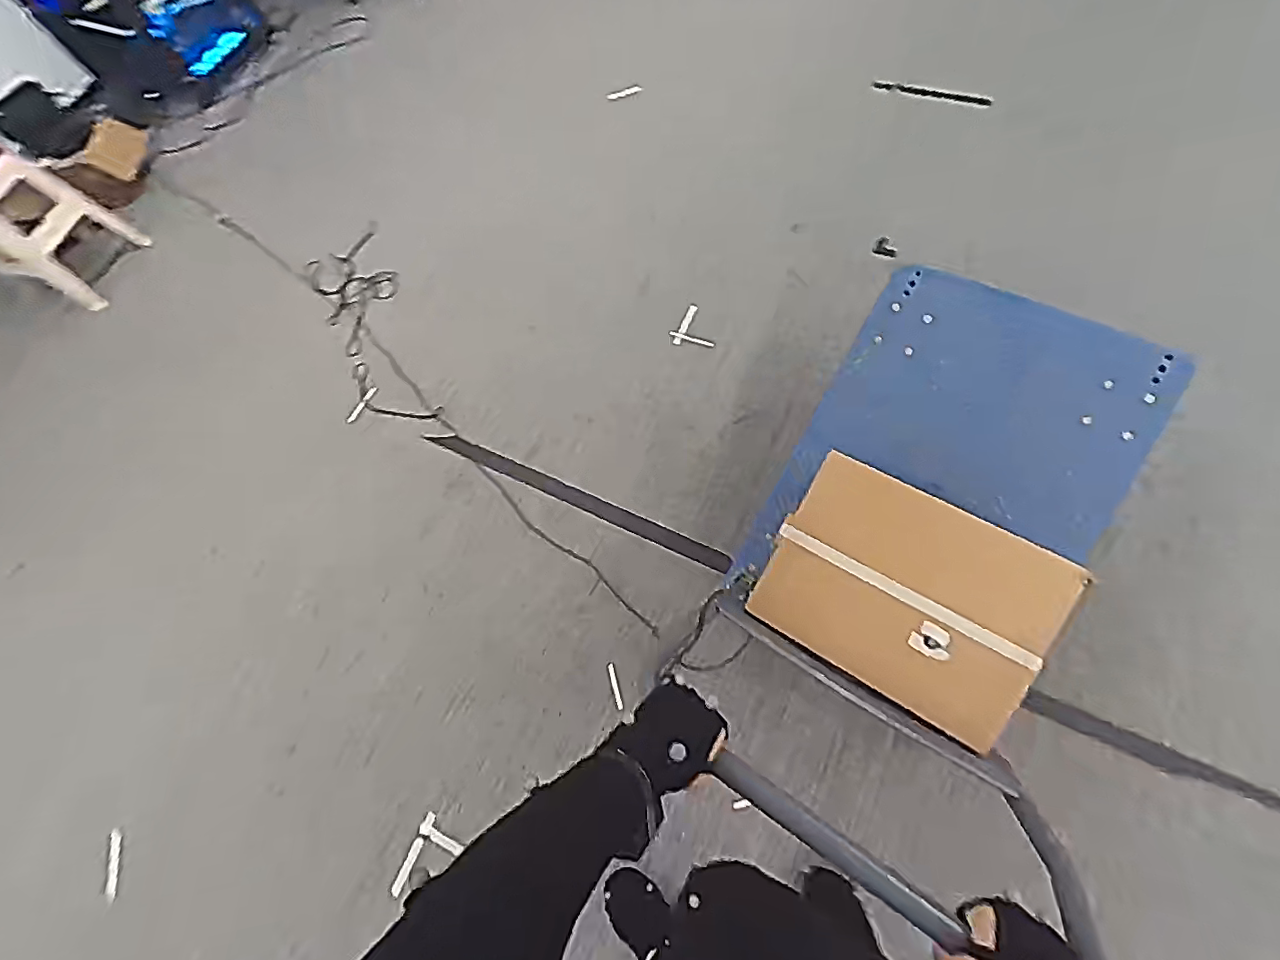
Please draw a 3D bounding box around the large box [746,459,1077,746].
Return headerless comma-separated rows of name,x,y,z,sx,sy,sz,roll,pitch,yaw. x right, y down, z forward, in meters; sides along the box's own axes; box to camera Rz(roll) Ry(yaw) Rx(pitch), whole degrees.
large box,0.459,0.199,1.010,0.408,0.320,0.320,29,94,19
